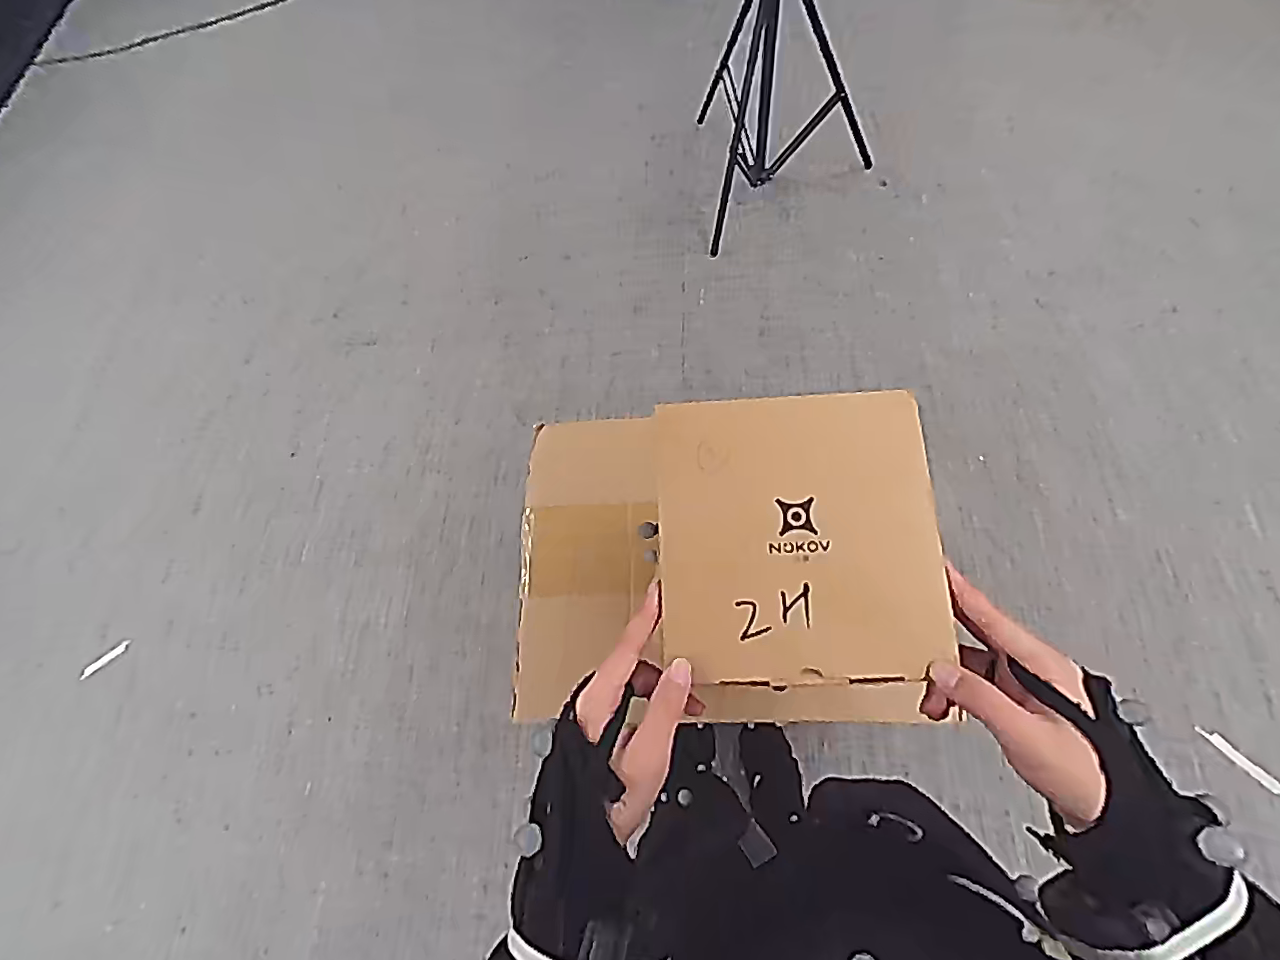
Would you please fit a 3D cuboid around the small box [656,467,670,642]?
[{"bbox_3d":[0.112,0.096,0.596,0.168,0.176,0.179,-1,67,8],"label":"small box"}]

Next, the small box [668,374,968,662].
[{"bbox_3d":[0.104,0.039,0.400,0.168,0.176,0.179,-2,75,5],"label":"small box"}]
